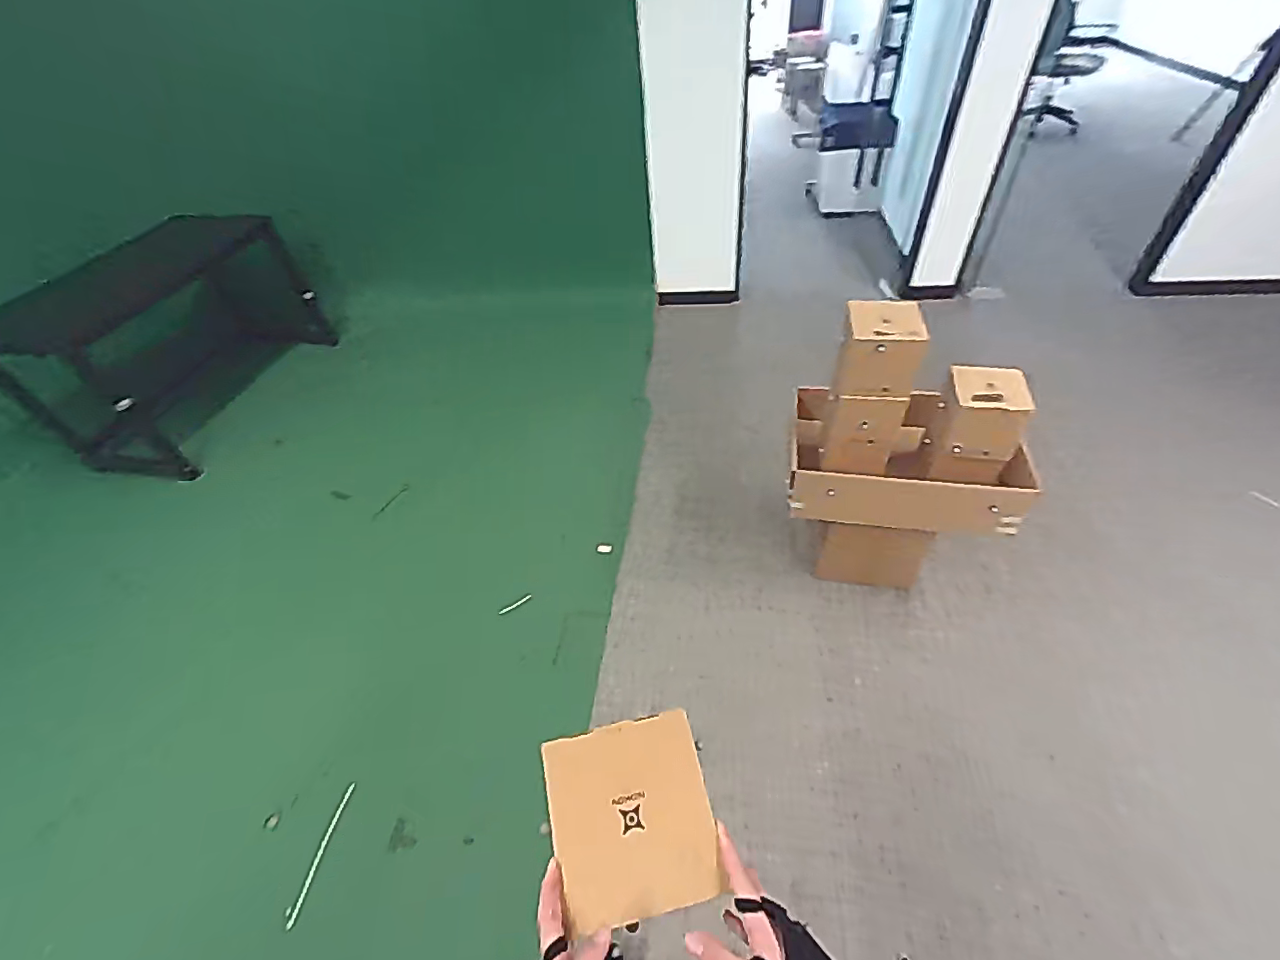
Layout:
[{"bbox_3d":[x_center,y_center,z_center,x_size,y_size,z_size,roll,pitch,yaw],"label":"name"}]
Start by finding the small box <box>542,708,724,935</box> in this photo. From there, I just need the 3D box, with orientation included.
[{"bbox_3d":[-0.010,0.386,0.630,0.168,0.176,0.179,-11,58,-6],"label":"small box"}]

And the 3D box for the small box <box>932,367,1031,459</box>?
[{"bbox_3d":[0.879,-0.173,1.410,0.168,0.176,0.179,7,47,14],"label":"small box"}]

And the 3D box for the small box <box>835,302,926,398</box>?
[{"bbox_3d":[0.594,-0.327,1.360,0.168,0.176,0.179,4,47,10],"label":"small box"}]

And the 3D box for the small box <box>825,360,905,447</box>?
[{"bbox_3d":[0.605,-0.209,1.472,0.168,0.176,0.179,5,48,10],"label":"small box"}]
